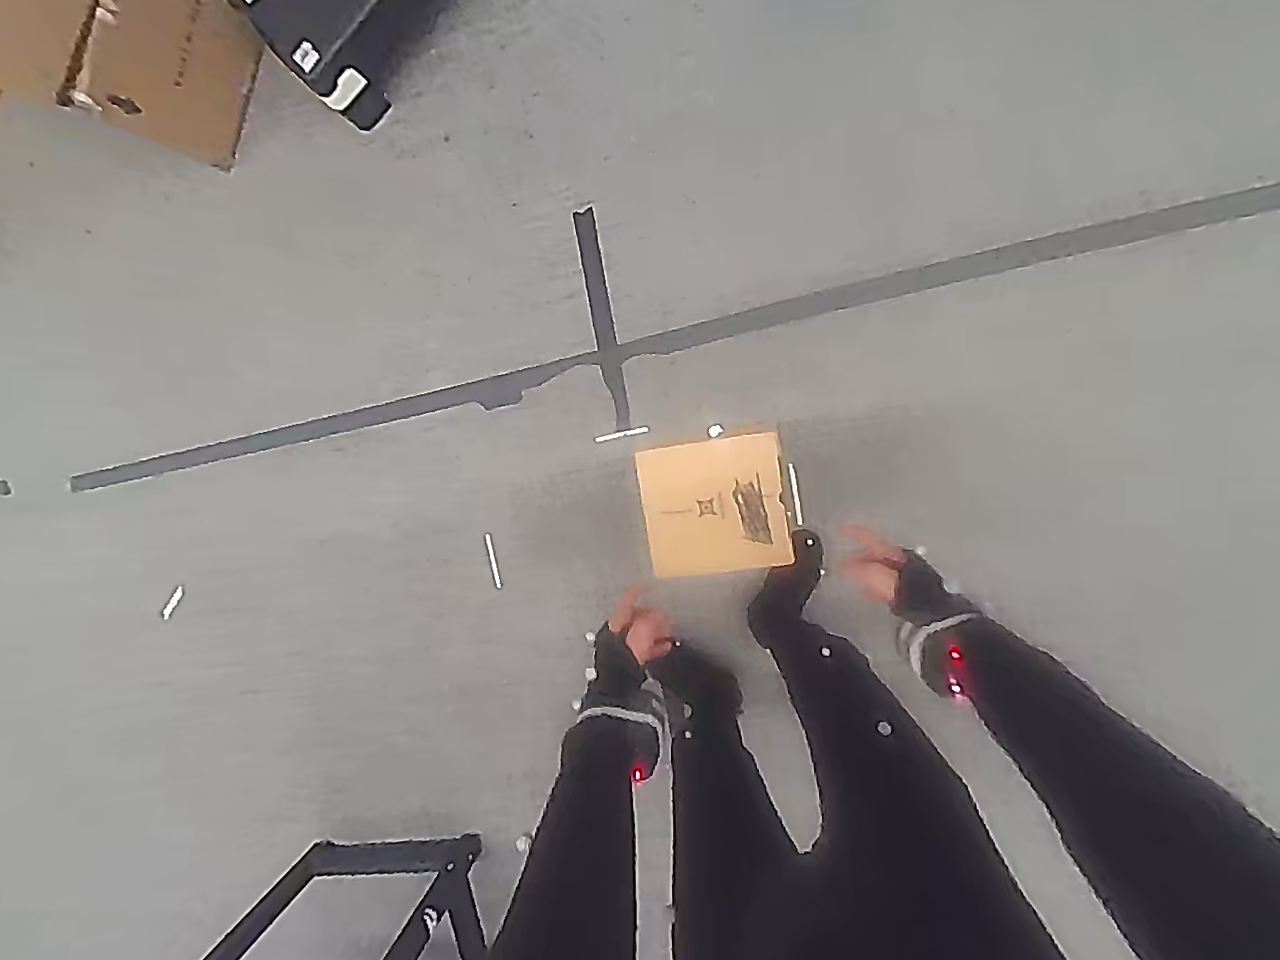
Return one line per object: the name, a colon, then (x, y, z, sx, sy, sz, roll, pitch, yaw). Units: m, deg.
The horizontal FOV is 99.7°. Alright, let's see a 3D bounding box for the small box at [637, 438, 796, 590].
small box: (0.105, 0.038, 0.739, 0.179, 0.176, 0.168, -8, 96, 12)
